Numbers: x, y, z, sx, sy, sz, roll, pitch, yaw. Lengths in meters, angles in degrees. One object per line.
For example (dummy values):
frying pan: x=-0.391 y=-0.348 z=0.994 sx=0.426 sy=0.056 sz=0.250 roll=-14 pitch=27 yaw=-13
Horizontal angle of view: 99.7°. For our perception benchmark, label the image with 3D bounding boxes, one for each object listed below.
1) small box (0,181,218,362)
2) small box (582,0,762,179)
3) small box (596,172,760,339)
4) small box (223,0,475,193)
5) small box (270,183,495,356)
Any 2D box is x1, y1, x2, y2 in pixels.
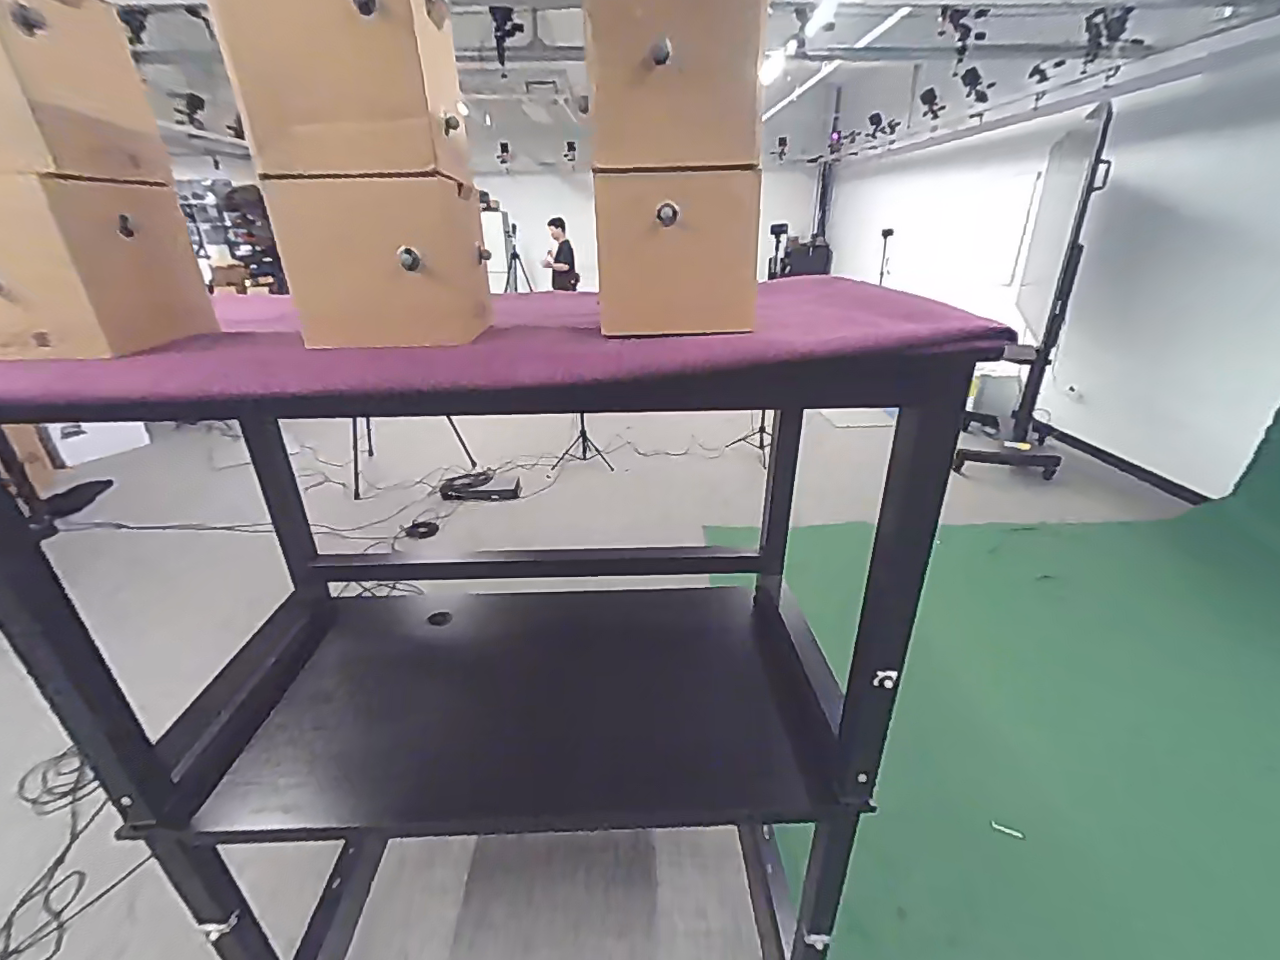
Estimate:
small box: x=-0.618 y=-0.229 z=0.597 sx=0.168 sy=0.176 sz=0.179 roll=-1 pitch=25 yaw=-4
small box: x=0.037 y=-0.420 z=0.605 sx=0.179 sy=0.176 sz=0.168 roll=-2 pitch=22 yaw=1
small box: x=0.043 y=-0.268 z=0.666 sx=0.179 sy=0.176 sz=0.168 roll=-1 pitch=22 yaw=0
small box: x=-0.287 y=-0.396 z=0.570 sx=0.179 sy=0.176 sz=0.168 roll=-3 pitch=24 yaw=-4
small box: x=-0.278 y=-0.246 z=0.635 sx=0.179 sy=0.176 sz=0.168 roll=-3 pitch=24 yaw=-2
